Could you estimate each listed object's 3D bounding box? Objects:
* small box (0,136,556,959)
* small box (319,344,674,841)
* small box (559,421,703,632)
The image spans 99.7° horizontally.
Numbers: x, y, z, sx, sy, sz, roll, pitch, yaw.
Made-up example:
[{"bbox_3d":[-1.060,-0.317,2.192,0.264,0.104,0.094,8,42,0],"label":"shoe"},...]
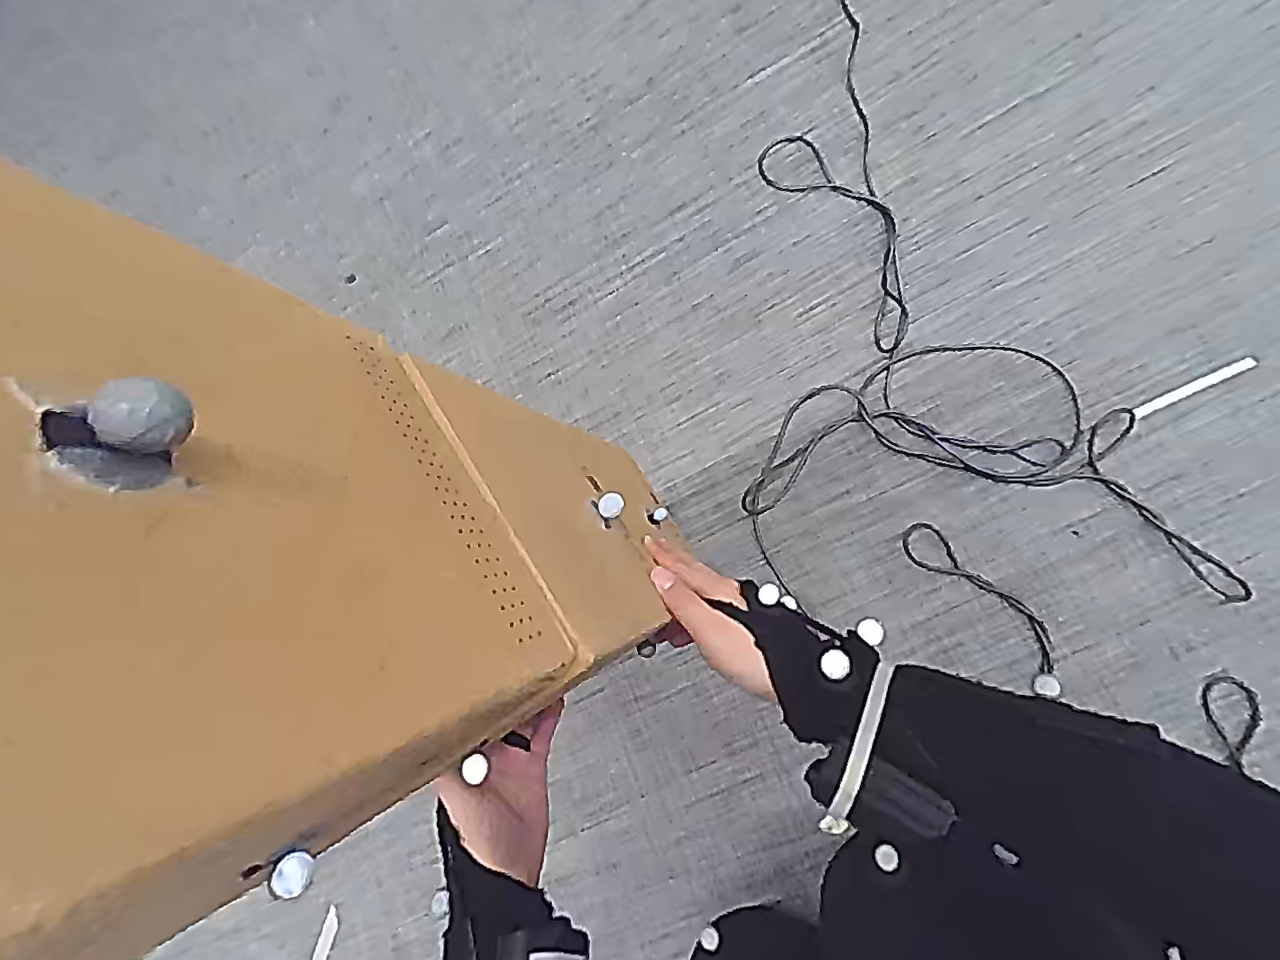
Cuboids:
[{"bbox_3d":[-0.158,0.037,0.163,0.168,0.176,0.179,-38,75,10],"label":"small box"},{"bbox_3d":[-0.104,0.061,0.315,0.179,0.176,0.168,-37,75,10],"label":"small box"},{"bbox_3d":[-0.060,0.075,0.473,0.179,0.176,0.168,-35,75,12],"label":"small box"}]
